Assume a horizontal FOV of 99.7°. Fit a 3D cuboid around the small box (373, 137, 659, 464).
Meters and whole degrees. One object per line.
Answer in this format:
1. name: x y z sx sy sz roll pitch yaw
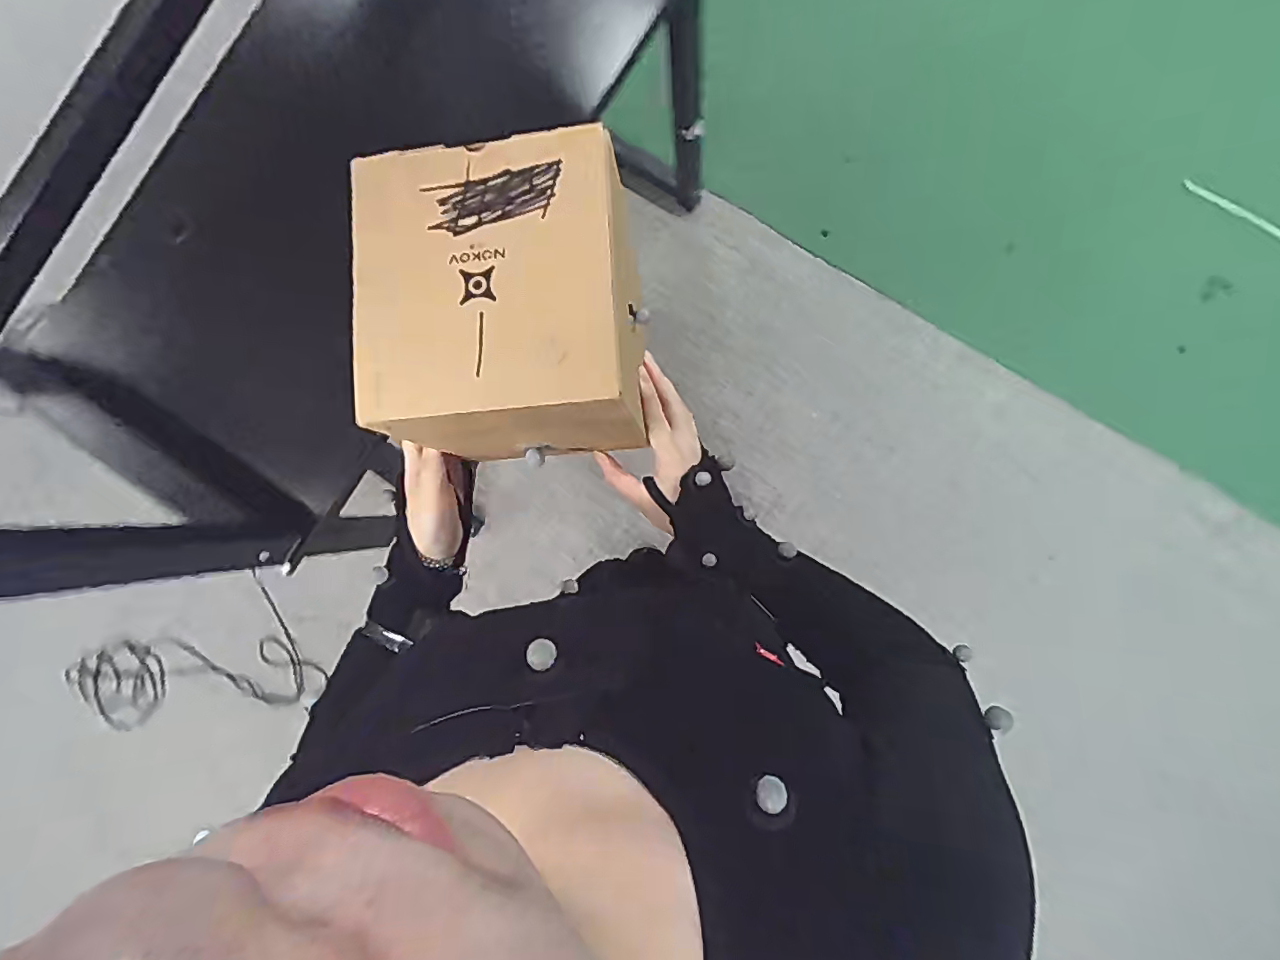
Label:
1. small box: -0.076 -0.113 0.410 0.168 0.176 0.179 -4 85 6
